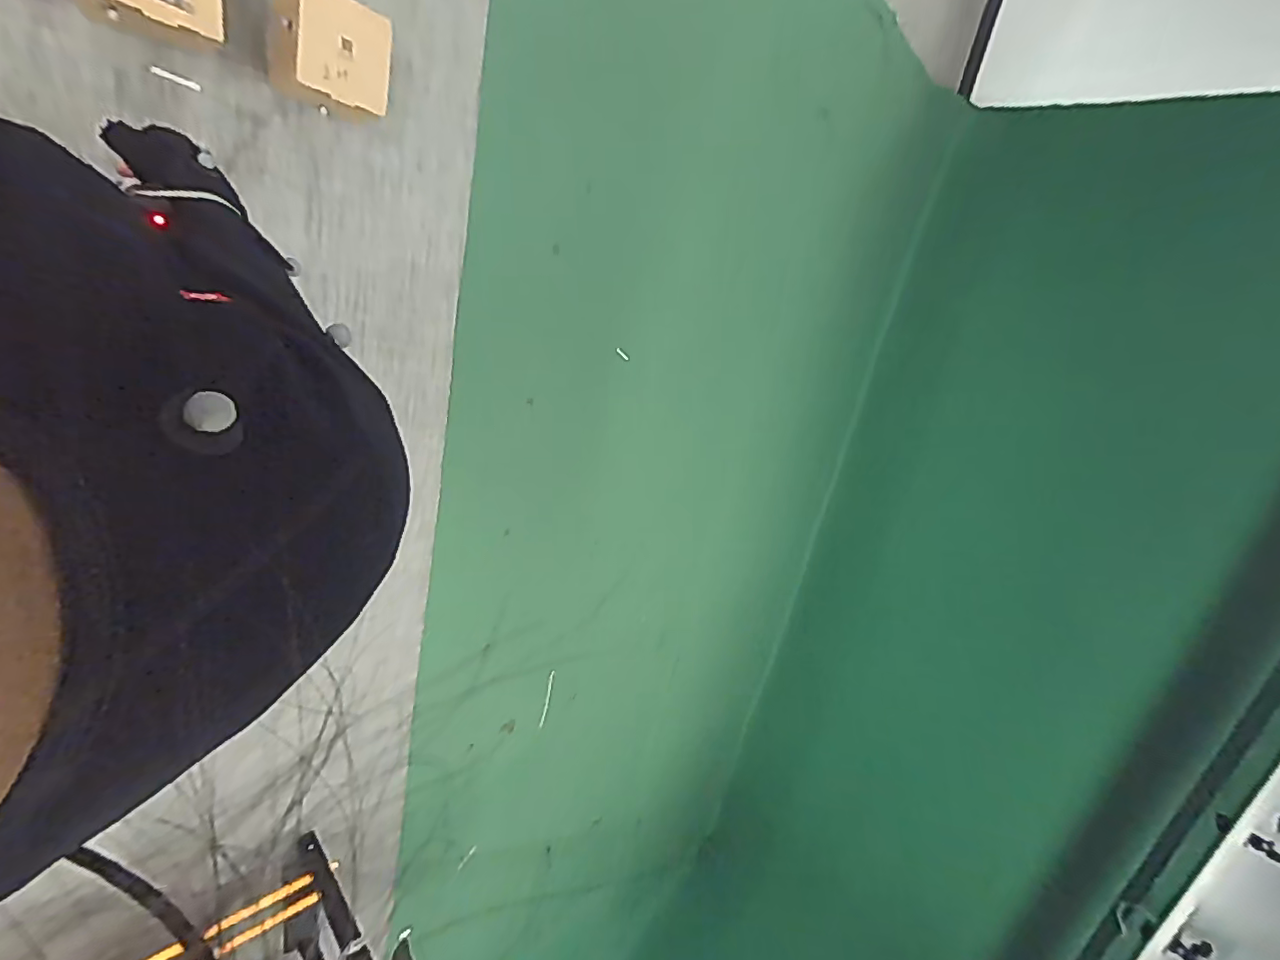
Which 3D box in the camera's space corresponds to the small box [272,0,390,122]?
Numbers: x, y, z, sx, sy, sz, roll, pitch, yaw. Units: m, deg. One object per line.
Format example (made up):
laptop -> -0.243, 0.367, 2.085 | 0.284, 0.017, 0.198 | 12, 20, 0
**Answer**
small box -> -0.631, -0.860, 1.100 | 0.168, 0.176, 0.179 | -5, 115, -47
